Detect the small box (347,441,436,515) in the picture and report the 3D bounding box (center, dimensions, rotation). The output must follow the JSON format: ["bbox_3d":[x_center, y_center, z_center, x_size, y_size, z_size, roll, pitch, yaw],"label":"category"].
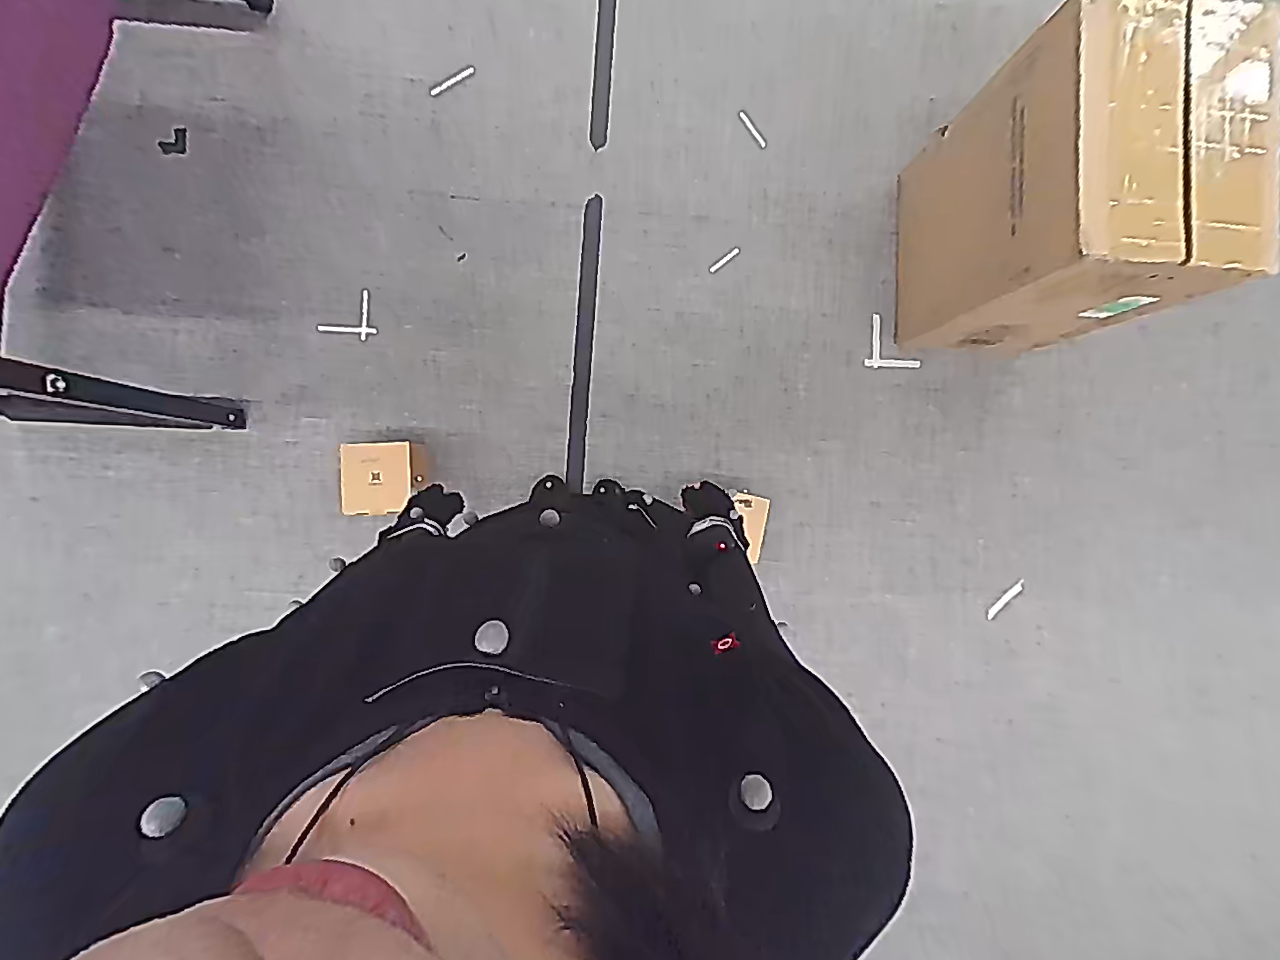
[{"bbox_3d":[-0.639,-0.005,1.409,0.168,0.176,0.179,-3,88,-5],"label":"small box"}]

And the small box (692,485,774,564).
[{"bbox_3d":[0.246,0.116,1.471,0.168,0.176,0.179,12,89,-4],"label":"small box"}]
